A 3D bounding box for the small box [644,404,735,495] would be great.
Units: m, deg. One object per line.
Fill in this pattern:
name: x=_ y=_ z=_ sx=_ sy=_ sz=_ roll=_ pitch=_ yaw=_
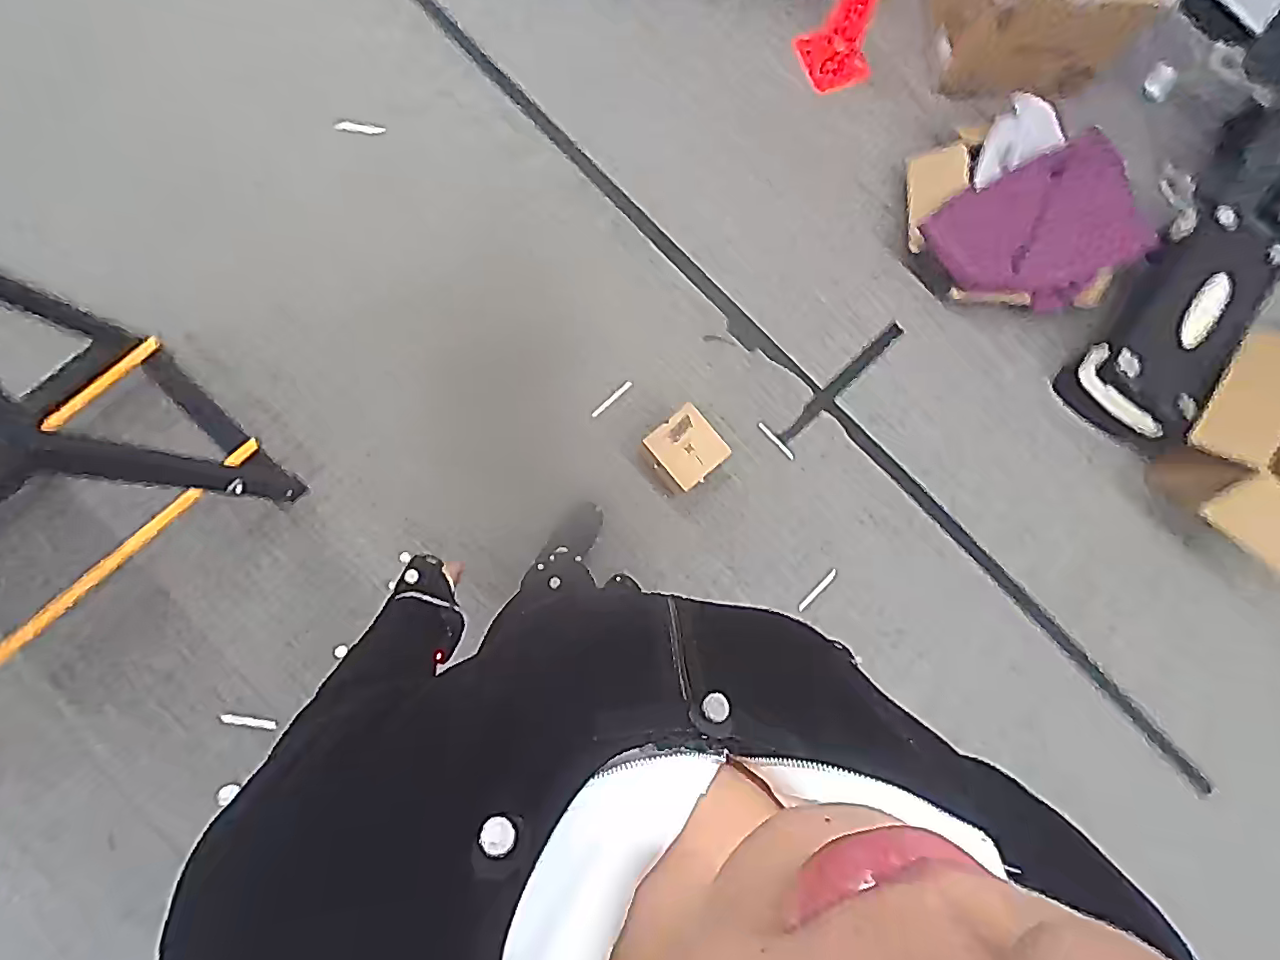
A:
small box: x=0.127 y=-0.074 z=1.471 sx=0.168 sy=0.176 sz=0.179 roll=-38 pitch=89 yaw=-7
